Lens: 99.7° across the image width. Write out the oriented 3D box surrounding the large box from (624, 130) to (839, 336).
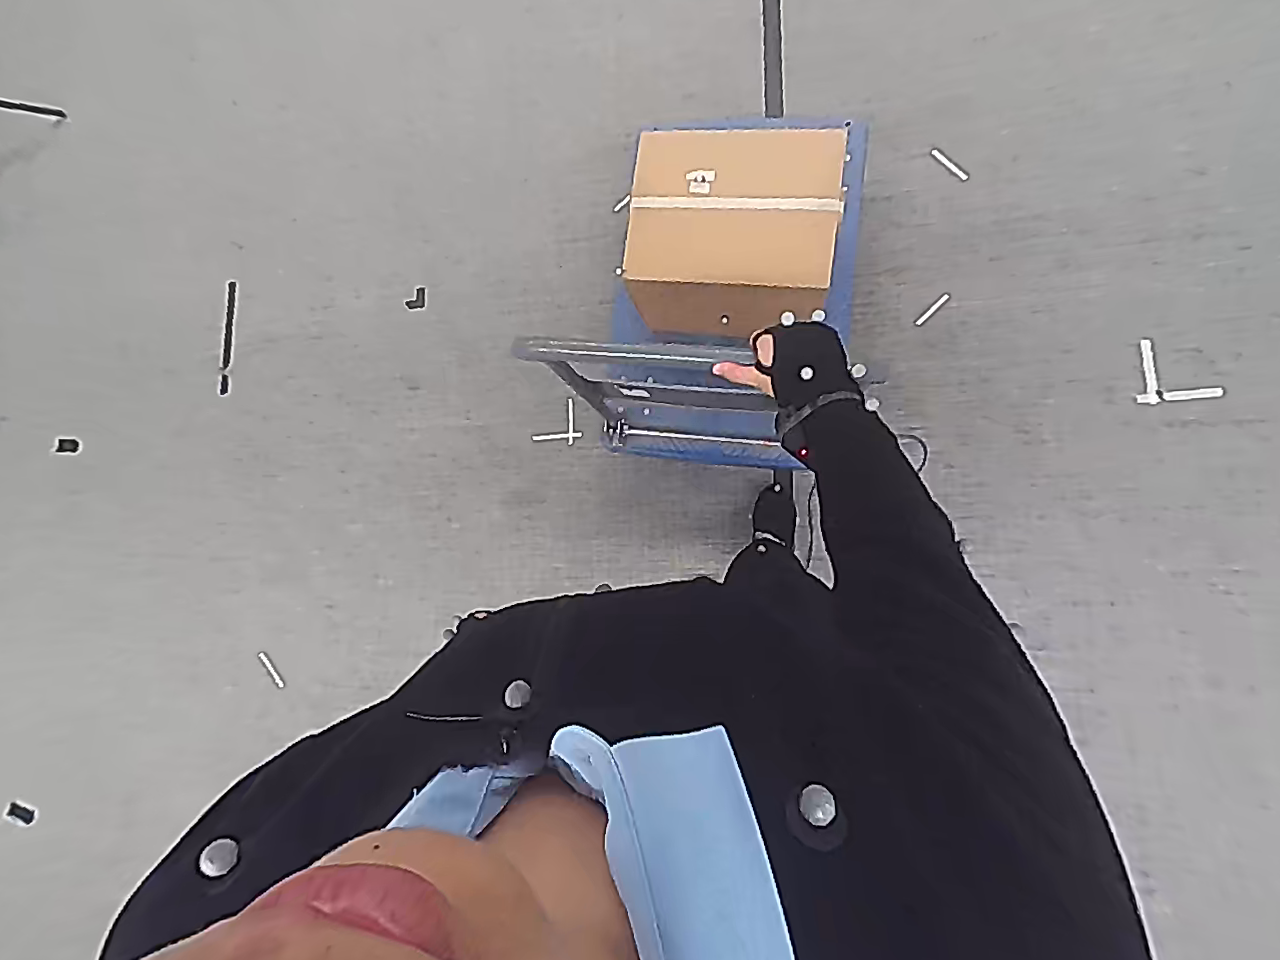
[{"bbox_3d":[0.209,-0.526,1.215,0.408,0.320,0.320,6,86,13],"label":"large box"}]
